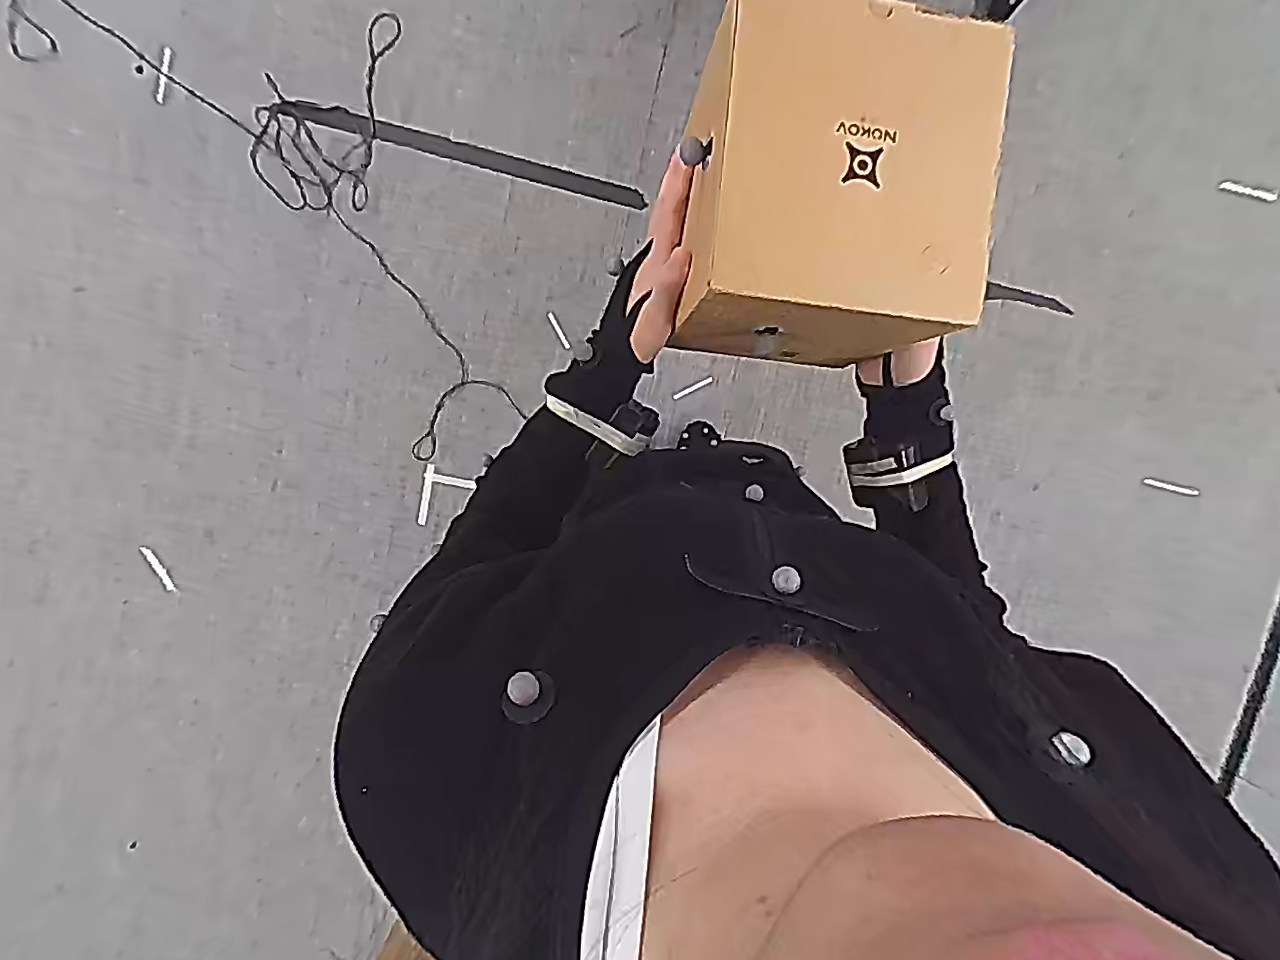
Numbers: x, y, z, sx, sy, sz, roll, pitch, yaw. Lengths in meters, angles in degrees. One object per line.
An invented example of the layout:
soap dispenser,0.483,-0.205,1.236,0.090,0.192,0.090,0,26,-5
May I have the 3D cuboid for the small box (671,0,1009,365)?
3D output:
small box,0.121,-0.188,0.393,0.168,0.176,0.179,5,91,-7
